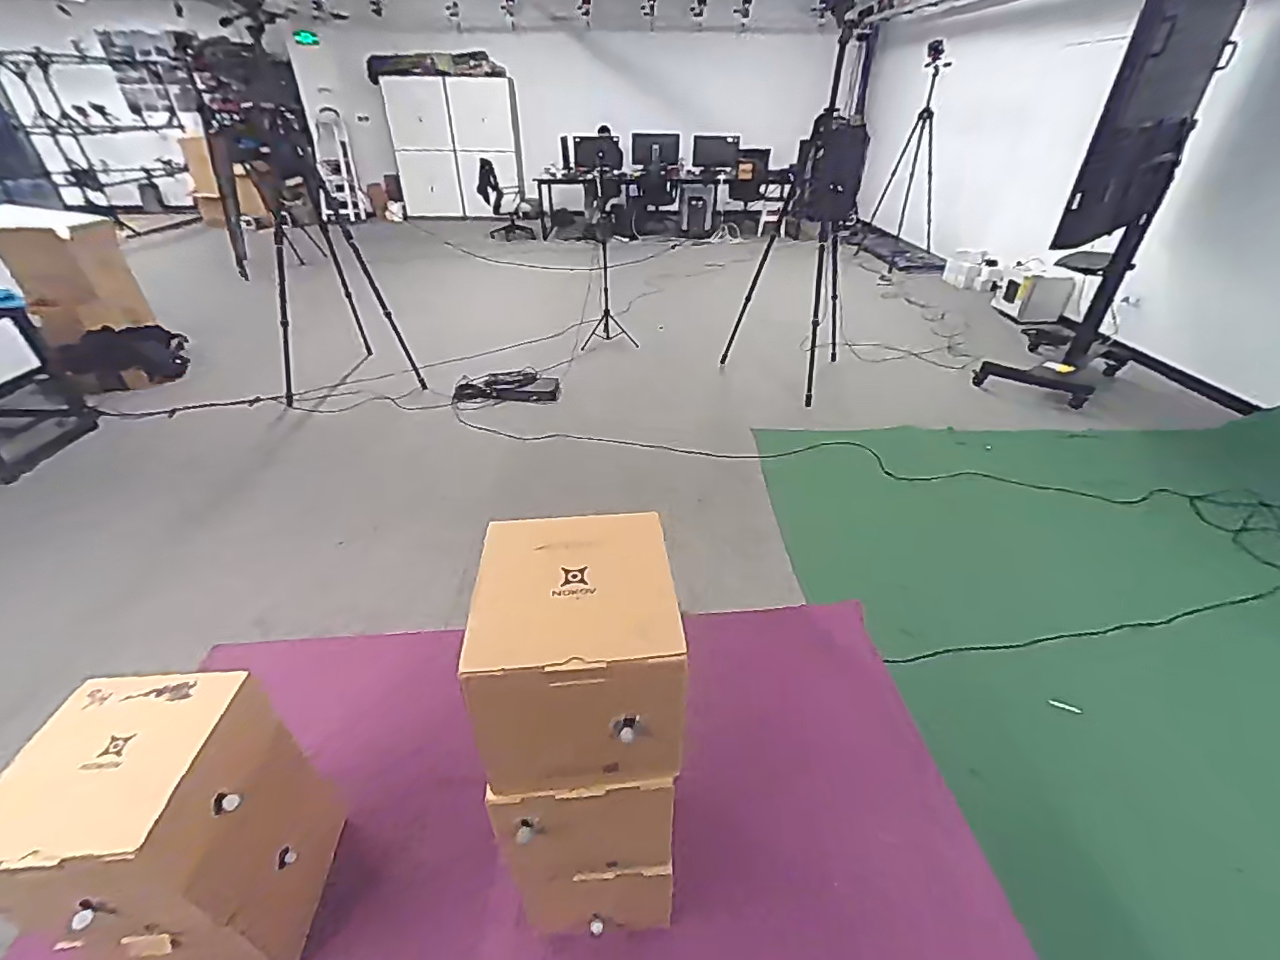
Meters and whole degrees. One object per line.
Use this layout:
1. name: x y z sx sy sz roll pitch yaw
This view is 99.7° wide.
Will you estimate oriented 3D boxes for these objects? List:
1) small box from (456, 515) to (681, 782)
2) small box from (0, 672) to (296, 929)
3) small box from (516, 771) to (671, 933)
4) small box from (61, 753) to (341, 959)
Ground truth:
1. small box: -0.055 0.154 0.497 0.168 0.176 0.179 -2 34 -5
2. small box: -0.486 0.321 0.544 0.168 0.176 0.179 -1 36 -3
3. small box: -0.051 0.427 0.676 0.168 0.176 0.179 -2 35 -2
4. small box: -0.483 0.457 0.637 0.168 0.176 0.179 -3 34 -5
